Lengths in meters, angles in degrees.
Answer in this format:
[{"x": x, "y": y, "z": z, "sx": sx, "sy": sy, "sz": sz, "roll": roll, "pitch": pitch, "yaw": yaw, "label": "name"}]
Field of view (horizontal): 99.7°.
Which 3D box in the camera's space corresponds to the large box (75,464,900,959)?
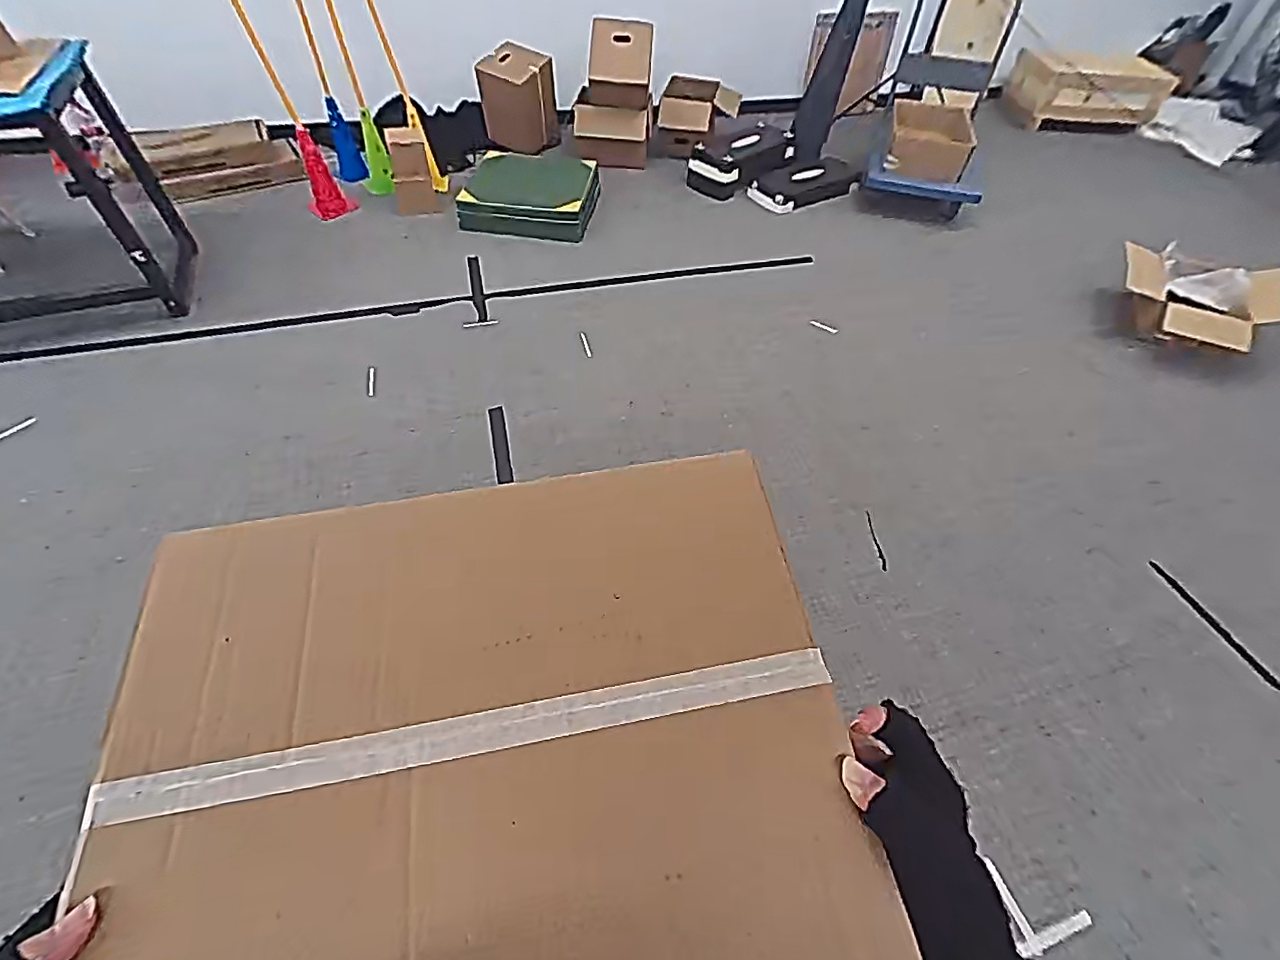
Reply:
[{"x": -0.091, "y": 0.220, "z": 0.445, "sx": 0.408, "sy": 0.320, "sz": 0.320, "roll": -9, "pitch": 61, "yaw": -5, "label": "large box"}]
